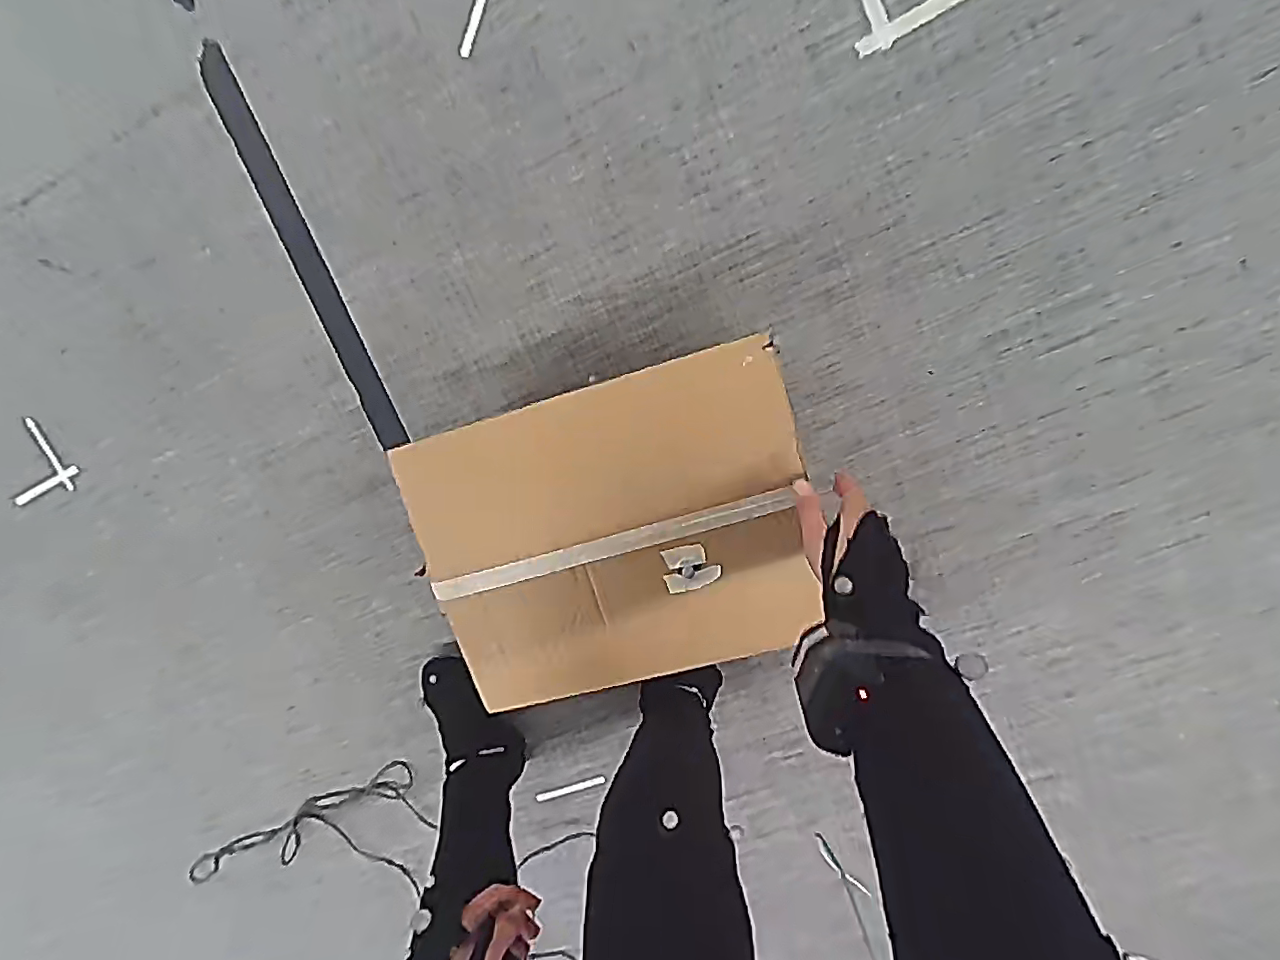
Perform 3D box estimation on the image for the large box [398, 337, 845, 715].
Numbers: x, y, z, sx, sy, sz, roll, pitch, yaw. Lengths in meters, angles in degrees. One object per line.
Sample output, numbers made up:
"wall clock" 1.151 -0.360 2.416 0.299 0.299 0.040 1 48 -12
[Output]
"large box" -0.010 0.039 0.701 0.408 0.320 0.320 -16 100 8
